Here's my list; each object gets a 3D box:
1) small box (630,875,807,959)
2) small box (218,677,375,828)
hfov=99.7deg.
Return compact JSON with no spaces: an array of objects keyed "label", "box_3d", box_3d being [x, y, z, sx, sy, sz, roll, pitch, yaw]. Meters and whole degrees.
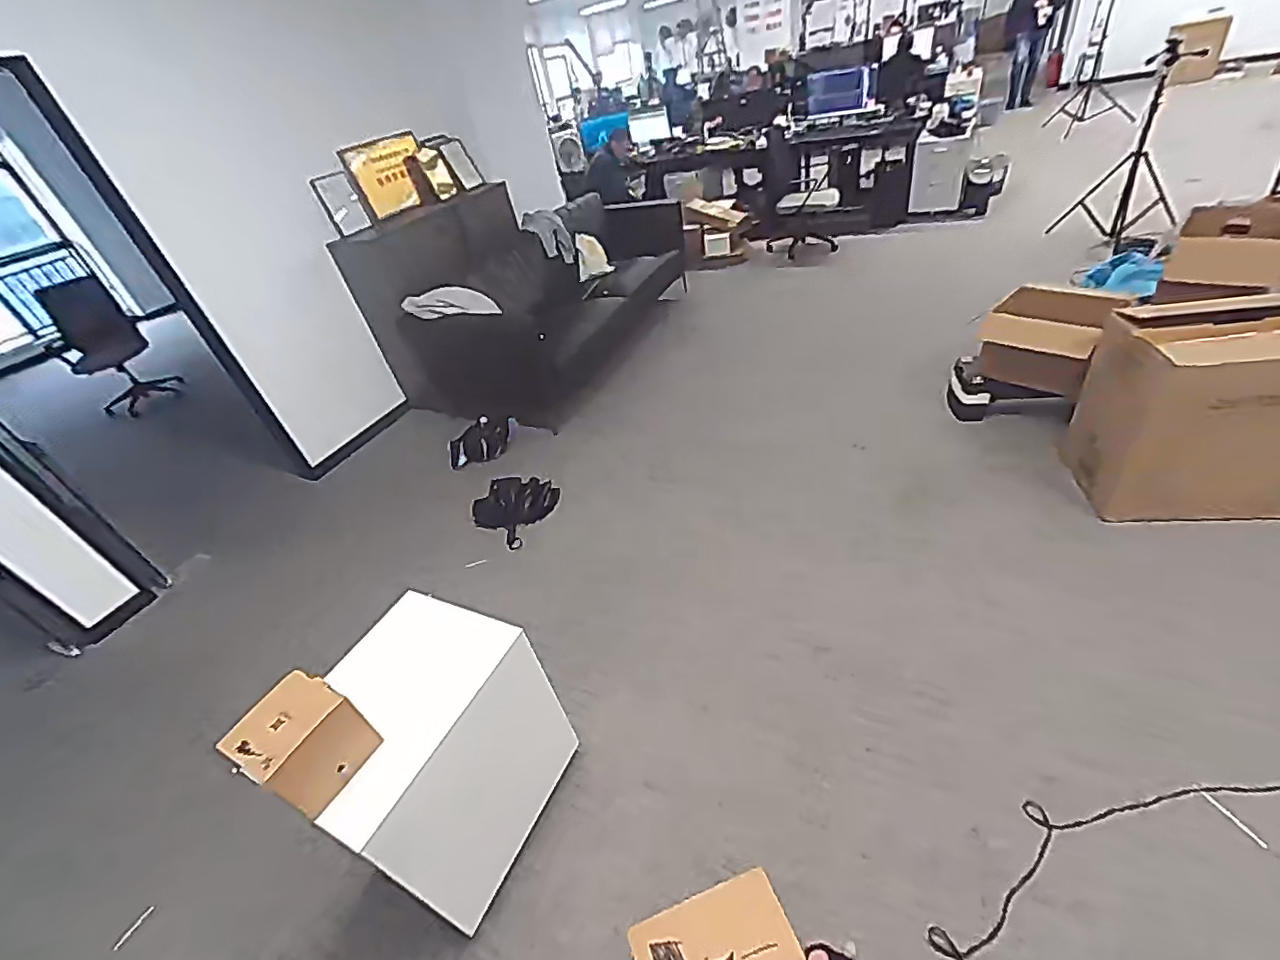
[{"label":"small box","box_3d":[0.107,0.582,0.566,0.179,0.176,0.168,-19,14,-8]},{"label":"small box","box_3d":[-0.652,0.528,1.054,0.168,0.176,0.179,10,41,28]}]
